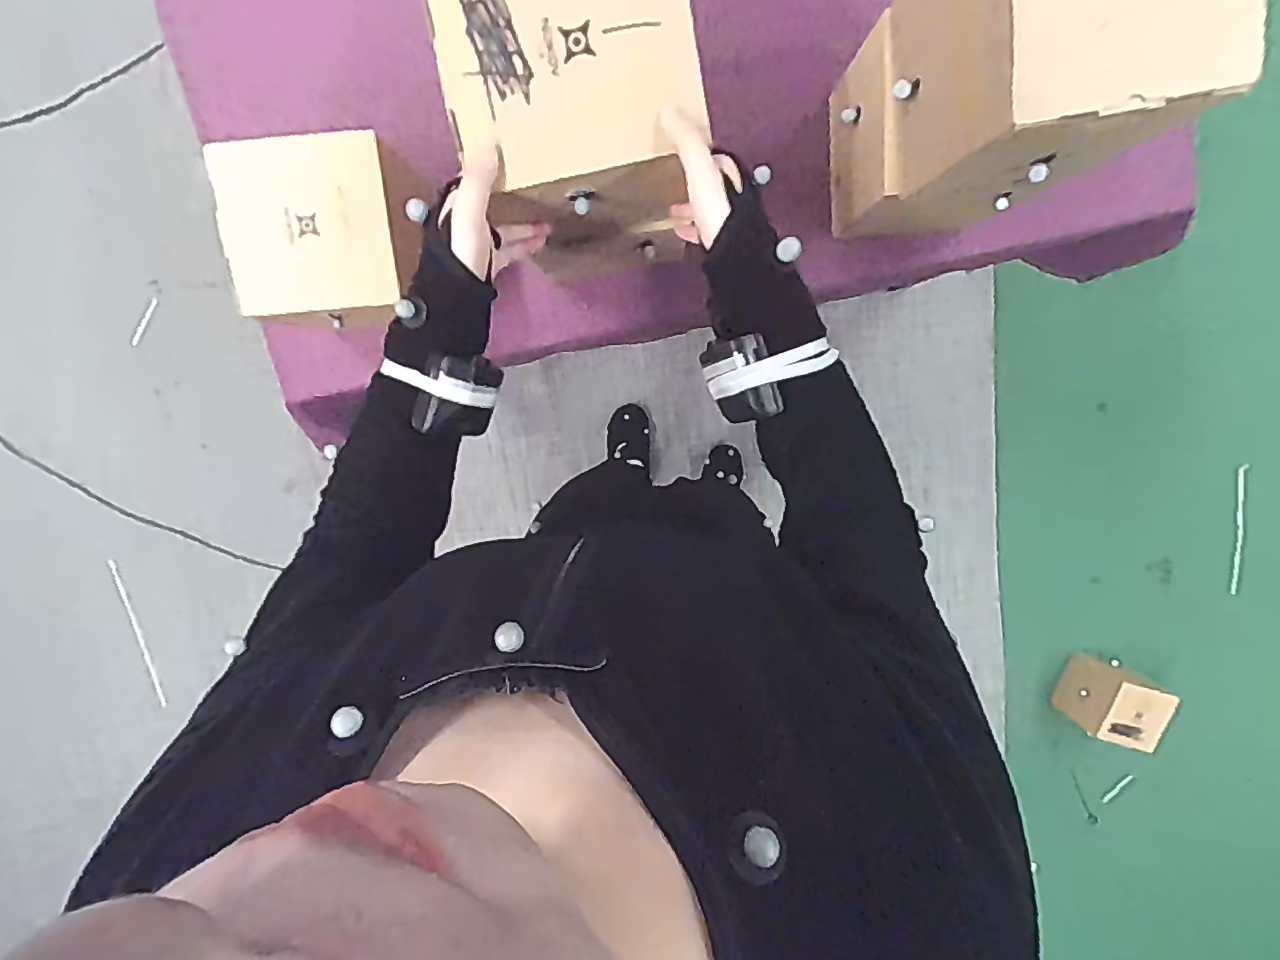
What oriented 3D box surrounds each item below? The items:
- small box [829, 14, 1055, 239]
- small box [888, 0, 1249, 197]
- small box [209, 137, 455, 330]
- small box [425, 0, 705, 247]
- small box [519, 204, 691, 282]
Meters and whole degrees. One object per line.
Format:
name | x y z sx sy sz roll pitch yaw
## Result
small box | 0.318 -0.377 0.597 0.179 0.176 0.168 -4 101 1
small box | 0.318 -0.347 0.435 0.168 0.176 0.179 -8 101 2
small box | -0.338 -0.269 0.628 0.179 0.176 0.168 -4 101 1
small box | -0.050 -0.307 0.447 0.179 0.176 0.168 -11 101 3
small box | -0.044 -0.332 0.610 0.179 0.176 0.168 -8 100 3
